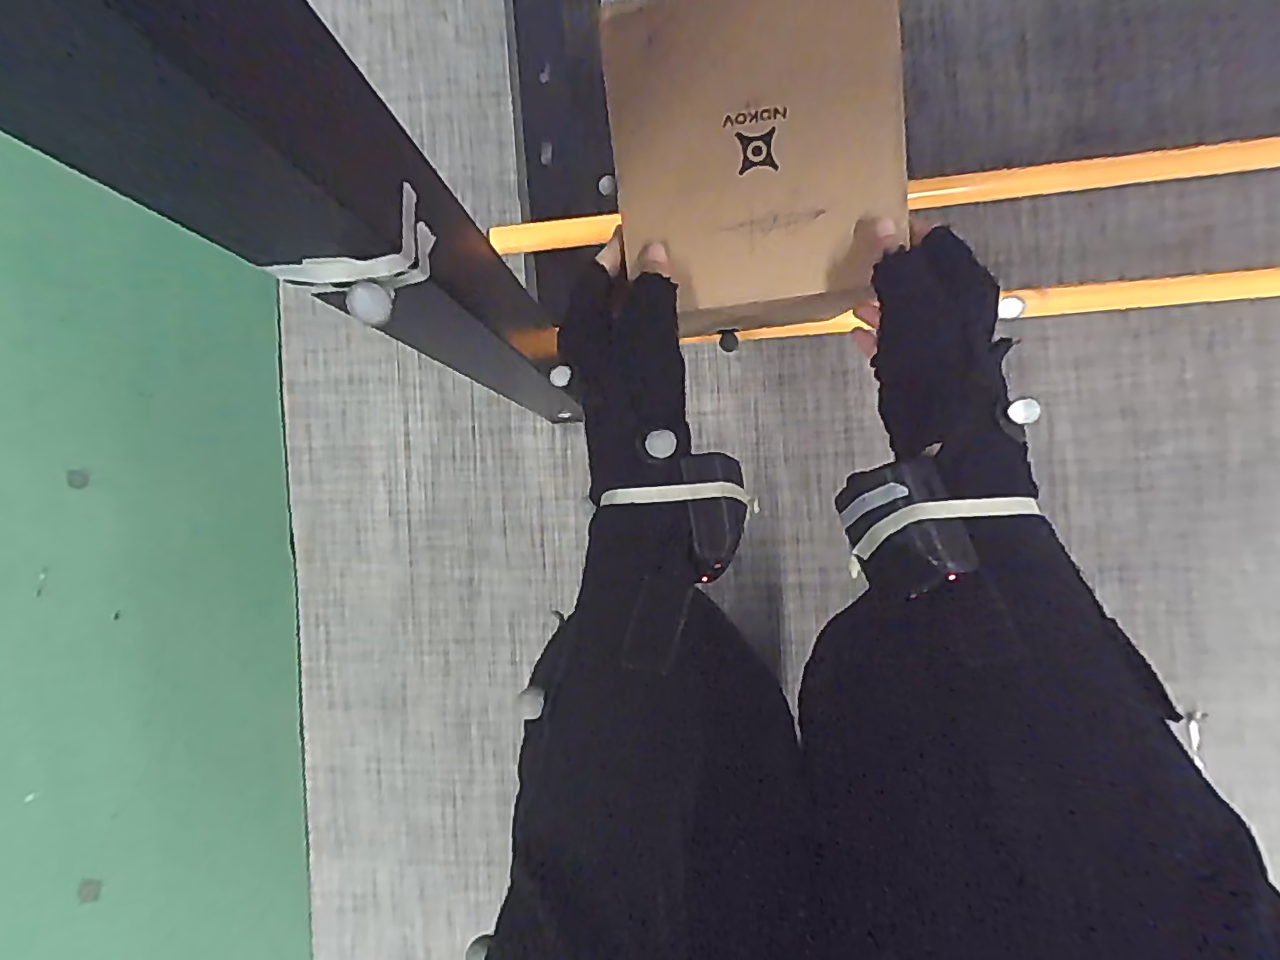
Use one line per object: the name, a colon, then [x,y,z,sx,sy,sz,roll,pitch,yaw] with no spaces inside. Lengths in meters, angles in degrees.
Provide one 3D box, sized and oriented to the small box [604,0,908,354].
small box: [0.074,-0.195,0.395,0.168,0.176,0.179,-7,99,6]
